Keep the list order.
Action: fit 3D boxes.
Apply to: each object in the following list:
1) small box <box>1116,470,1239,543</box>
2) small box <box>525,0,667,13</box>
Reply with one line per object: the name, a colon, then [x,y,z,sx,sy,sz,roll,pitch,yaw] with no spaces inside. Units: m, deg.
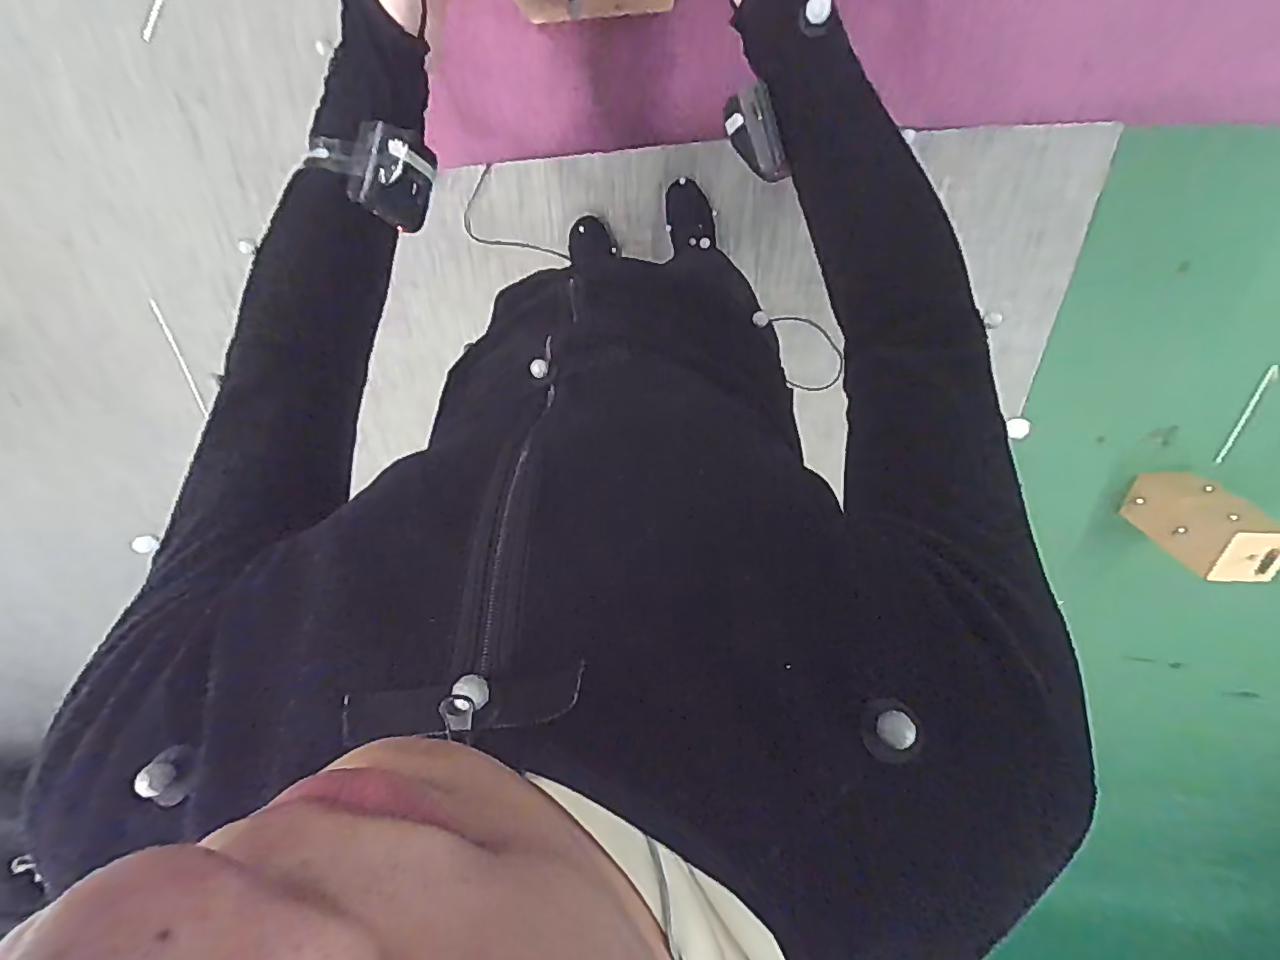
small box: [1.654,0.079,1.678,0.179,0.176,0.168,2,120,1]
small box: [-0.052,-0.574,0.513,0.168,0.176,0.179,-2,119,3]
